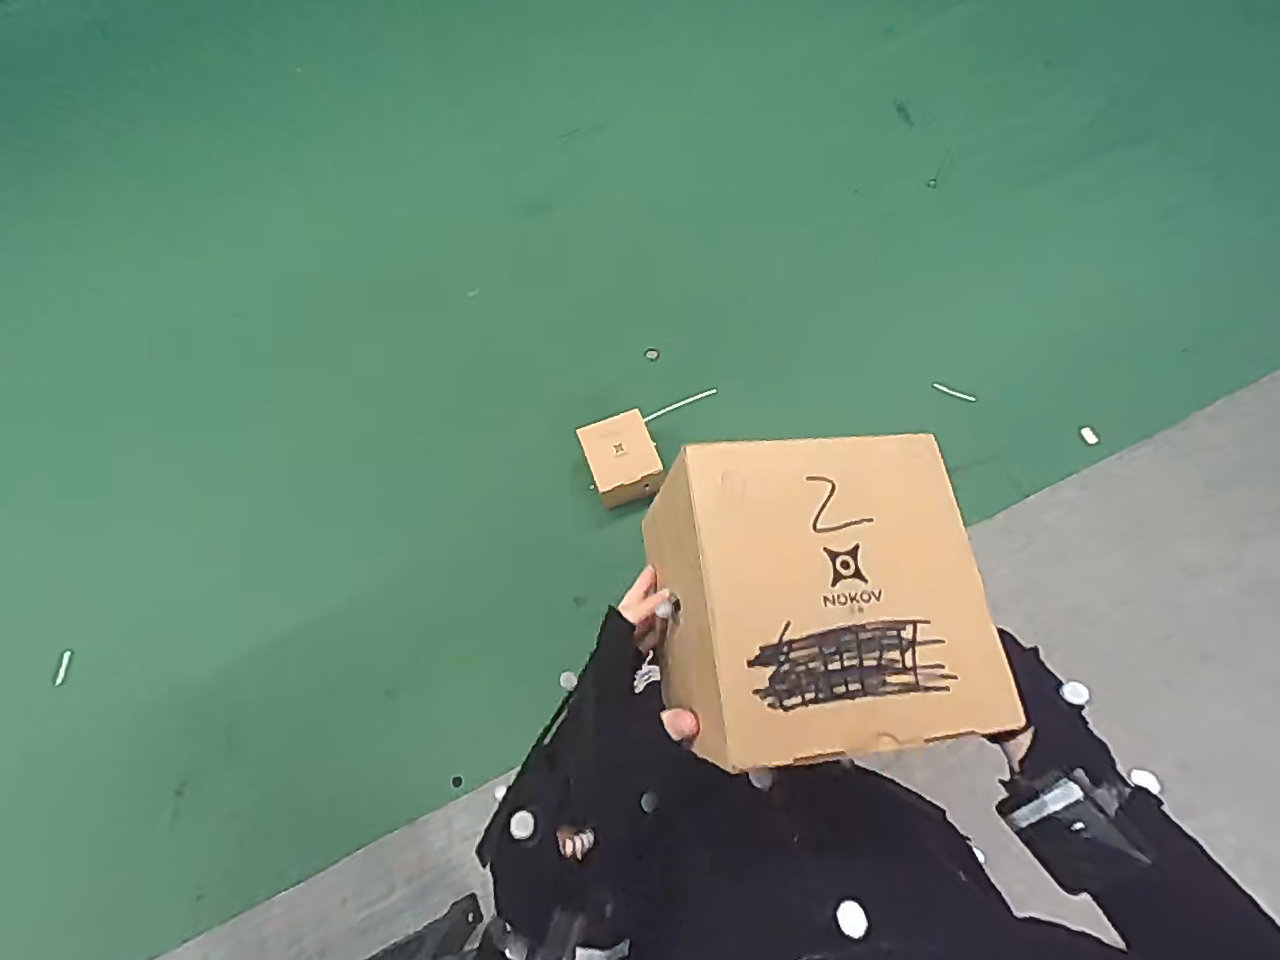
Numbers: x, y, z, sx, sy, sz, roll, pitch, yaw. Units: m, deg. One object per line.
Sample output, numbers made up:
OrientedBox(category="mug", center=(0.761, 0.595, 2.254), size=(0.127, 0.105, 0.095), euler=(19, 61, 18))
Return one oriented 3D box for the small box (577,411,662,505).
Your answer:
OrientedBox(category="small box", center=(-0.048, -0.046, 1.390), size=(0.168, 0.176, 0.179), euler=(-20, 74, -6))
